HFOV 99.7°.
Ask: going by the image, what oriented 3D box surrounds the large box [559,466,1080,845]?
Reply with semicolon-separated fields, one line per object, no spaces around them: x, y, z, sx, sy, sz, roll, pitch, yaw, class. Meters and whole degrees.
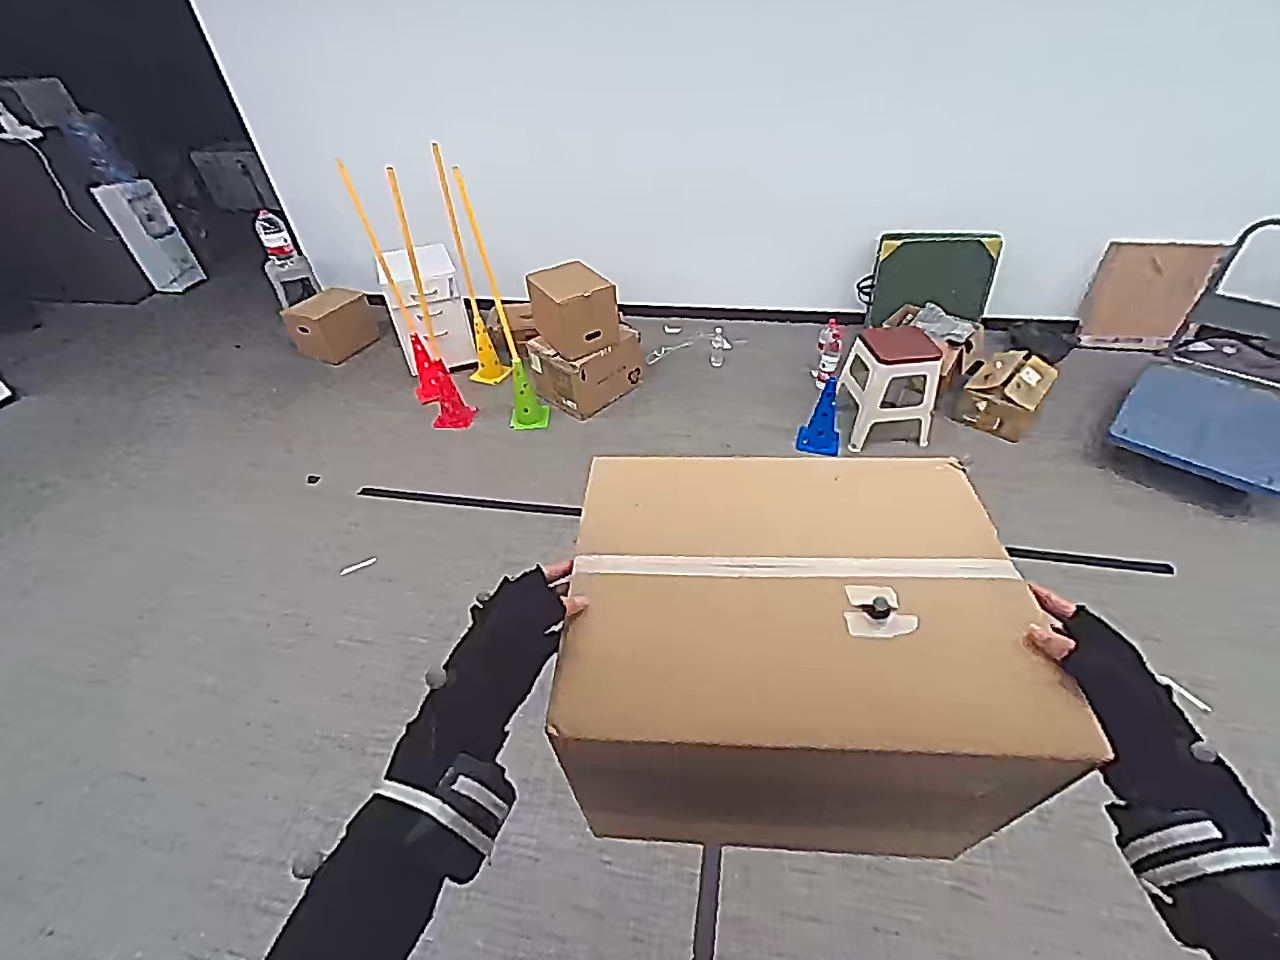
0.143;0.197;0.620;0.408;0.320;0.320;1;45;4;large box
